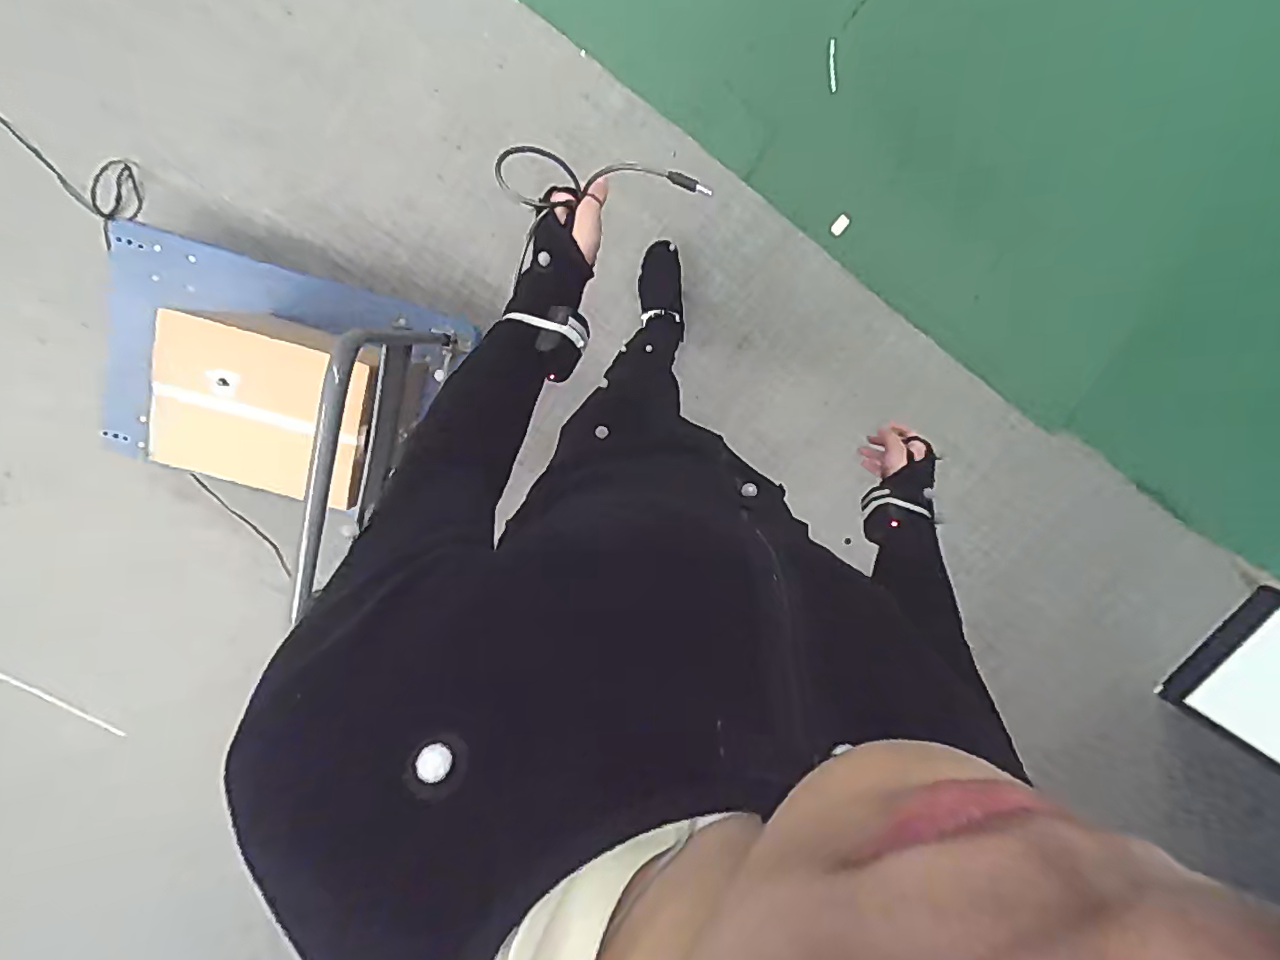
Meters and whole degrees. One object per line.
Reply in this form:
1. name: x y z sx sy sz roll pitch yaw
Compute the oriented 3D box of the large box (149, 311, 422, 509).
1. large box: -0.762 -0.167 1.214 0.408 0.320 0.320 16 103 -4
